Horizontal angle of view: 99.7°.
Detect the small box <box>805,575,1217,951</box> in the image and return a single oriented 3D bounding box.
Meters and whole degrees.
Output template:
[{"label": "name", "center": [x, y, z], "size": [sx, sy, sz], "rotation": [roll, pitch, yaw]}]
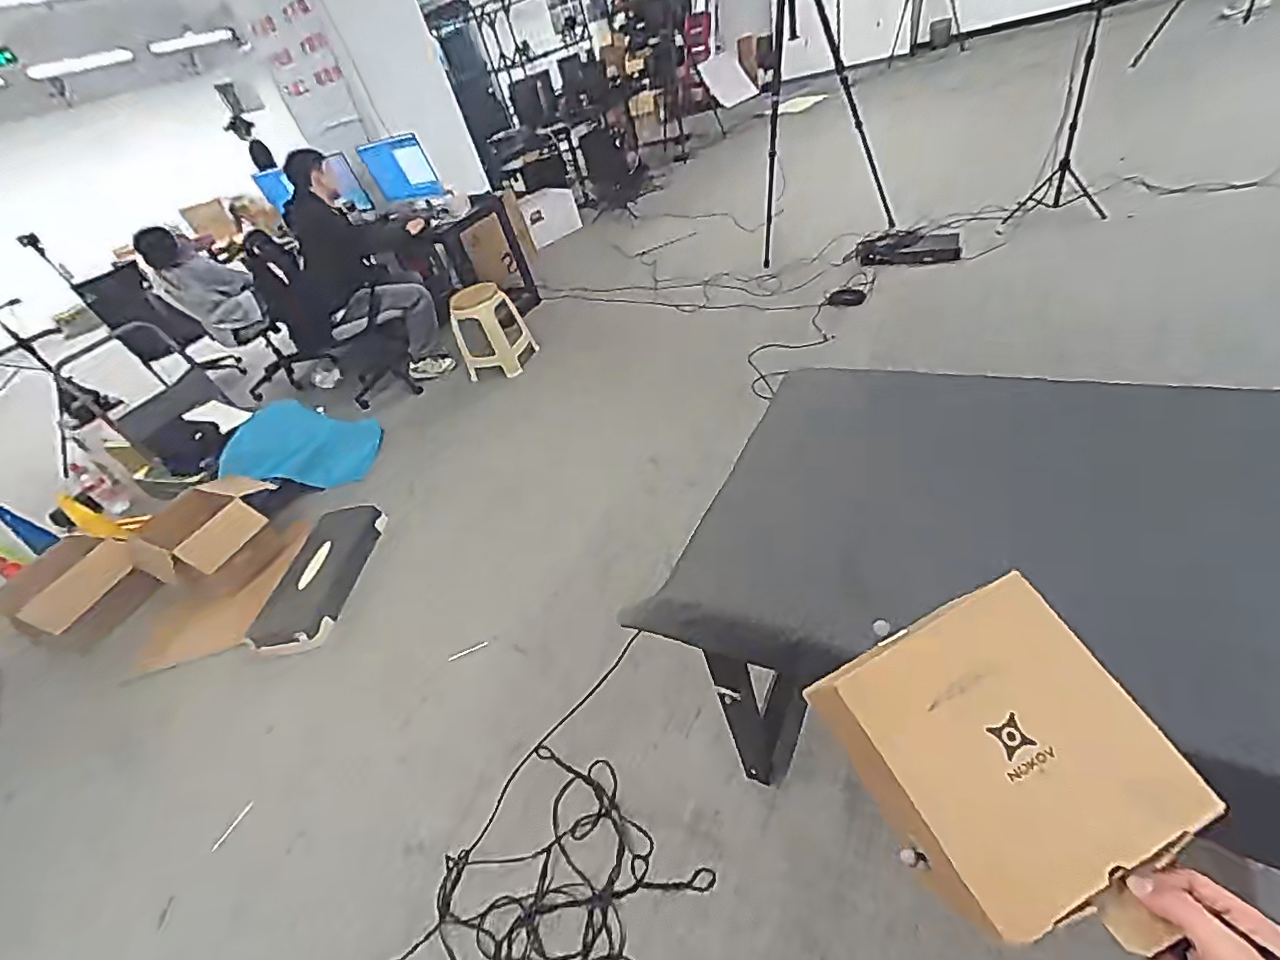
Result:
[{"label": "small box", "center": [0.257, 0.205, 0.433], "size": [0.168, 0.176, 0.179], "rotation": [-30, 65, -6]}]
